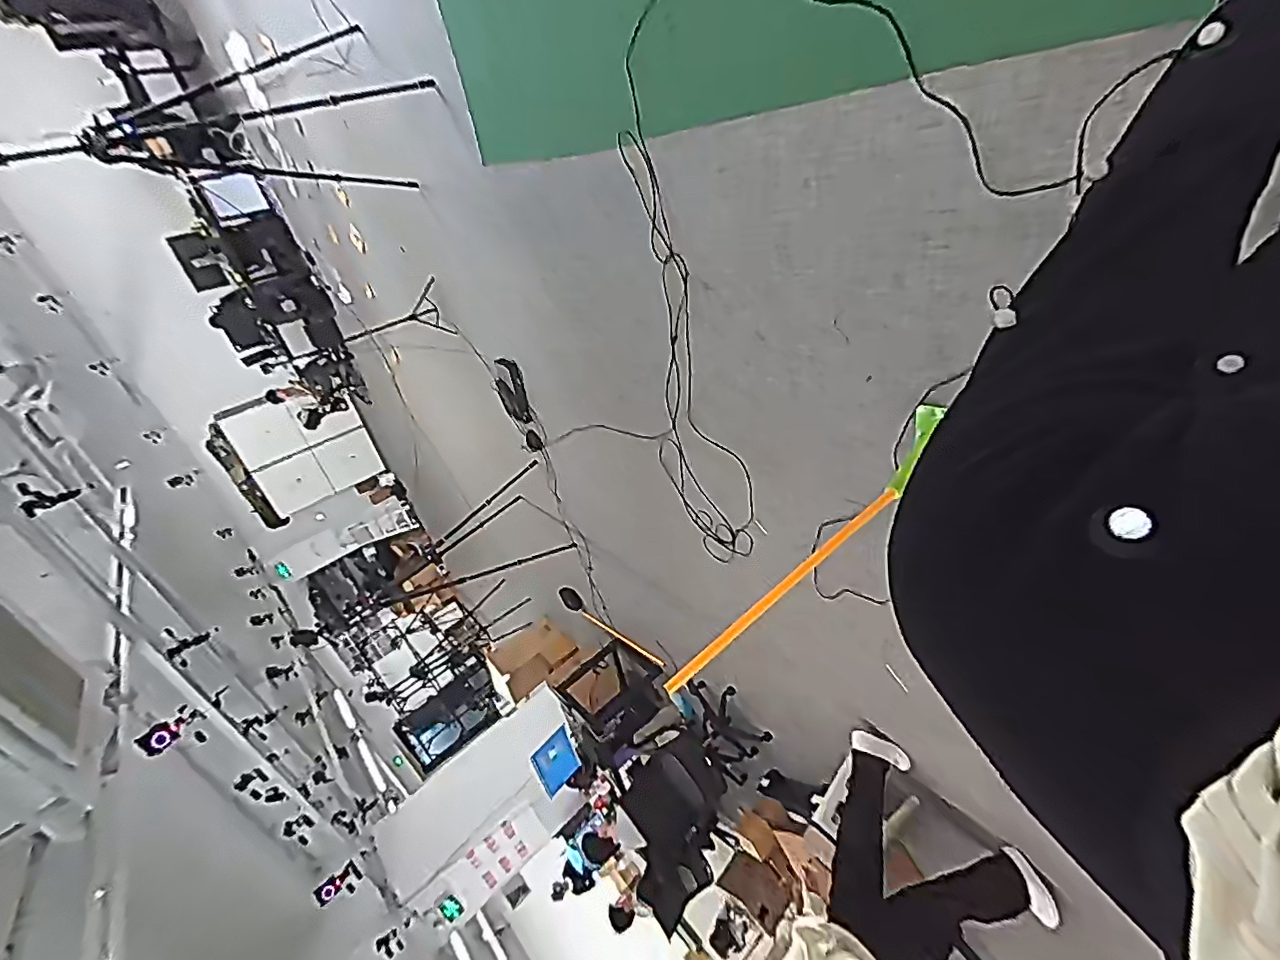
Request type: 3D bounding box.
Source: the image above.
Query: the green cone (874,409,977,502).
[{"bbox_3d":[0.819,-0.040,1.614,0.202,0.368,0.200,22,135,47],"label":"green cone"}]
